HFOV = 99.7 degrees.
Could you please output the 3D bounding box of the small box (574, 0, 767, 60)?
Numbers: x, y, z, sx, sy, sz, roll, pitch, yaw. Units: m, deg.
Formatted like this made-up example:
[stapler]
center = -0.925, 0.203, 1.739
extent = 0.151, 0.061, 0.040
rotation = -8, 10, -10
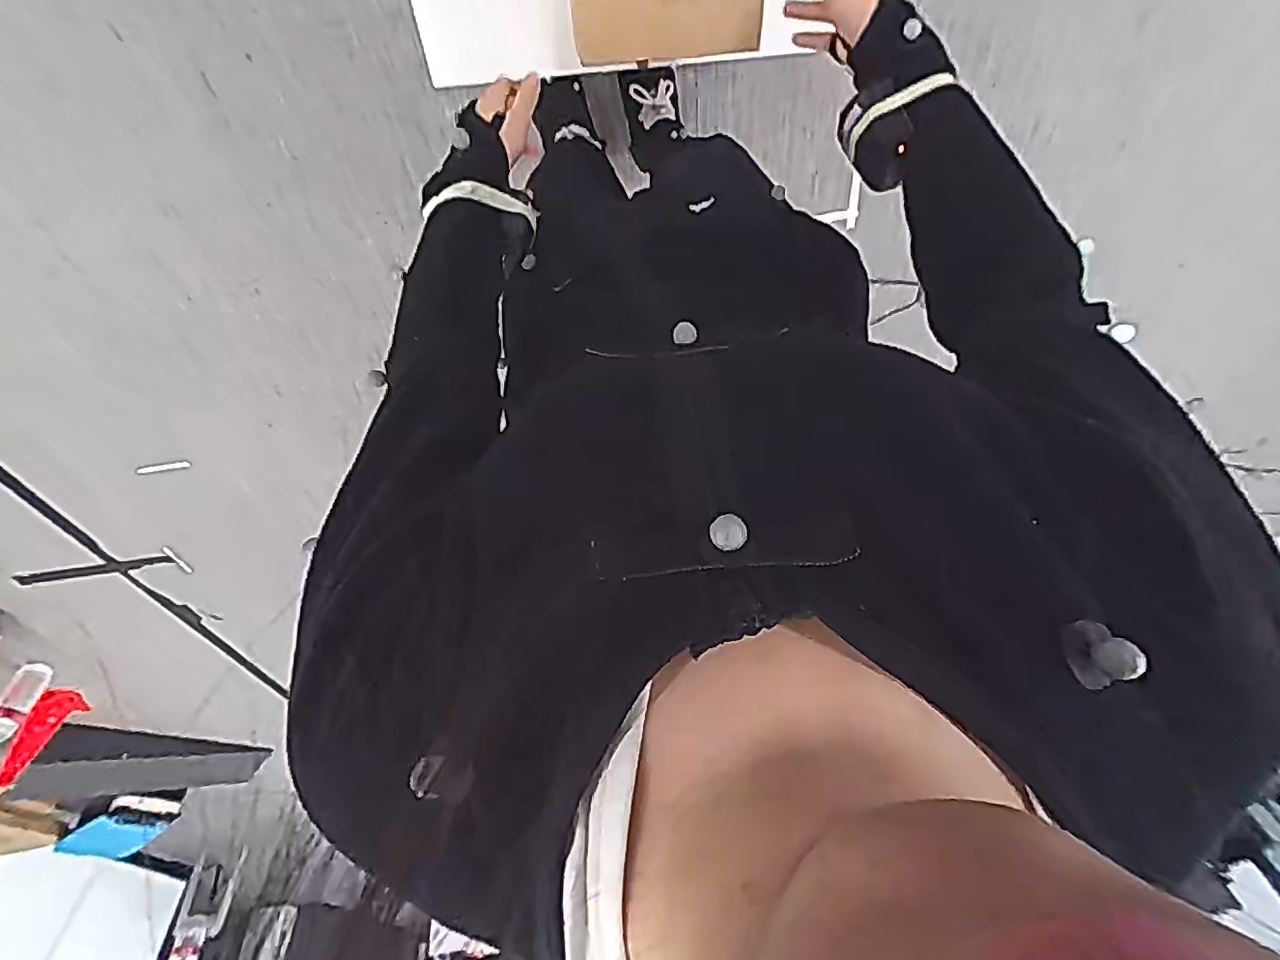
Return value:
[small box]
center = 0.017, -0.503, 0.488
extent = 0.168, 0.176, 0.179
rotation = -7, 134, -1
